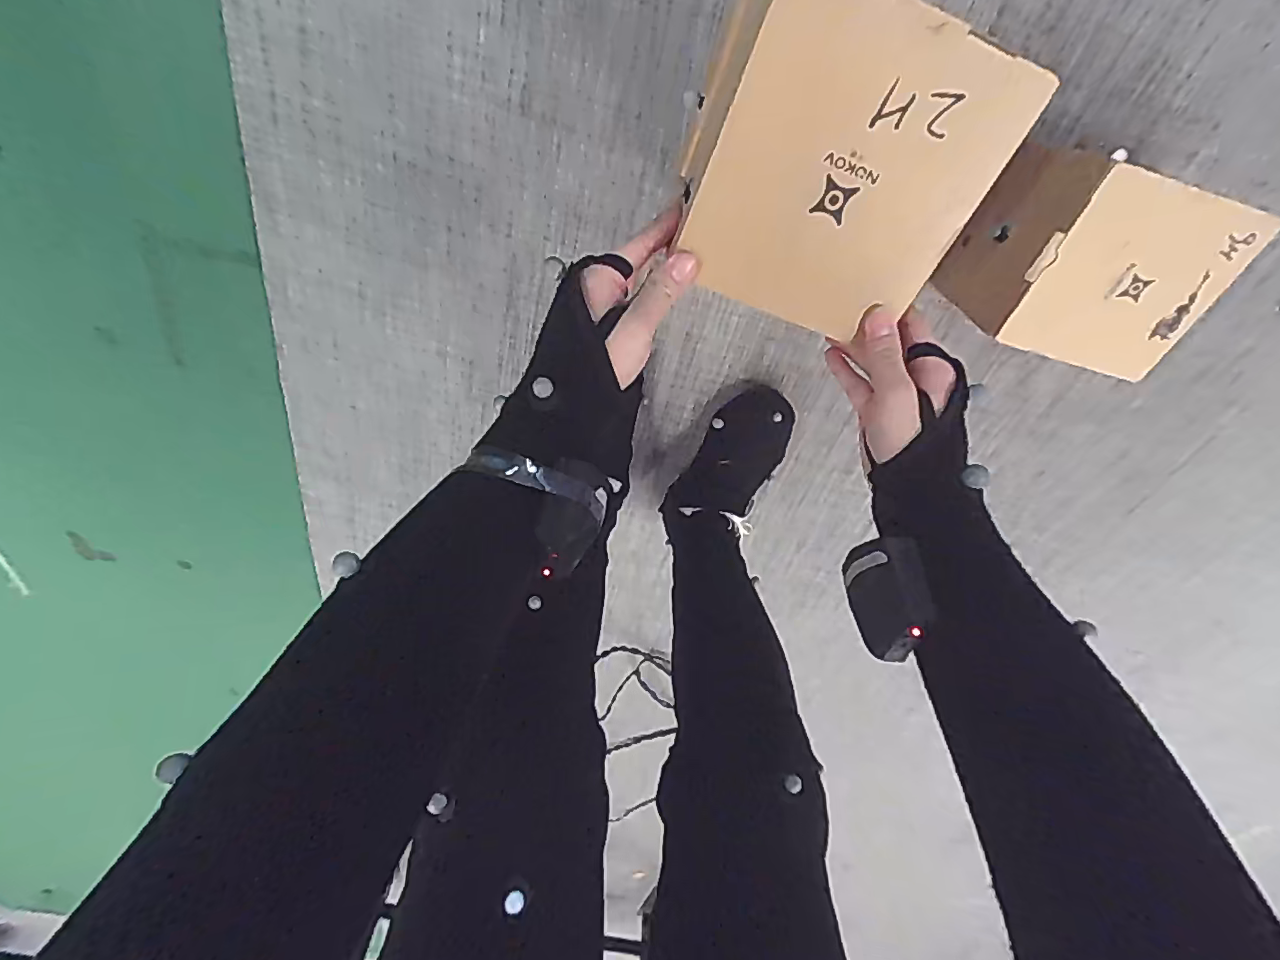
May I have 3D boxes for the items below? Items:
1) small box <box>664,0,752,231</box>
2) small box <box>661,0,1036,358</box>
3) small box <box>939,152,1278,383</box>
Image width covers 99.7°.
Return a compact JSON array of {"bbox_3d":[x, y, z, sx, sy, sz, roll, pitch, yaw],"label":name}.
[{"bbox_3d":[0.132,-0.324,0.534,0.168,0.176,0.179,17,126,-8],"label":"small box"},{"bbox_3d":[0.125,-0.225,0.403,0.168,0.176,0.179,18,125,-9],"label":"small box"},{"bbox_3d":[0.460,-0.231,0.573,0.179,0.176,0.168,14,127,-4],"label":"small box"}]
